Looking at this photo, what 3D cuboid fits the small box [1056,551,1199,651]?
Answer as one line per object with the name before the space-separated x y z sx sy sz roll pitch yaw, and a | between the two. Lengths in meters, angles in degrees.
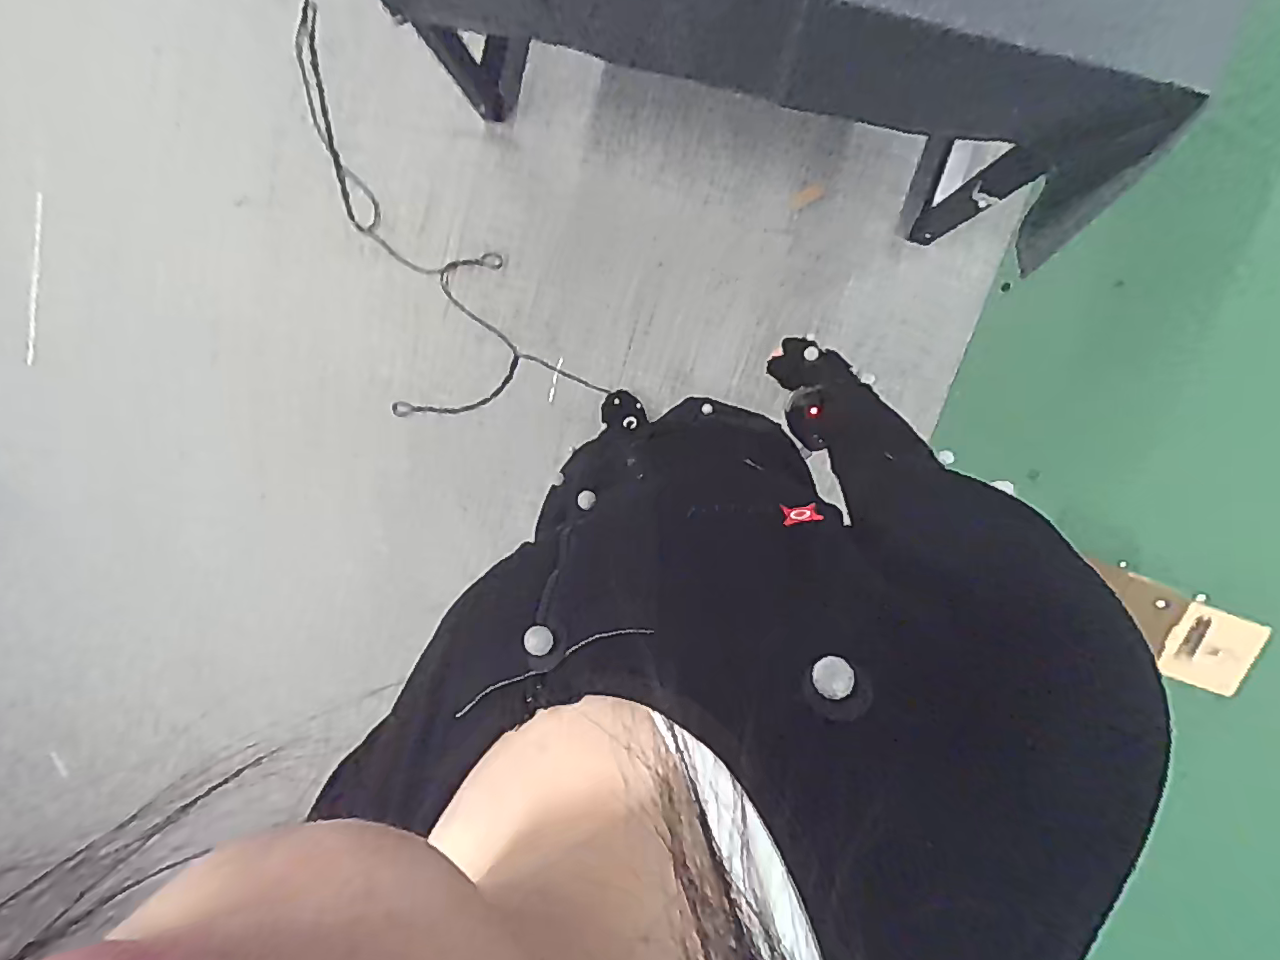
small box | 1.207 0.294 1.357 0.179 0.176 0.168 21 100 1
